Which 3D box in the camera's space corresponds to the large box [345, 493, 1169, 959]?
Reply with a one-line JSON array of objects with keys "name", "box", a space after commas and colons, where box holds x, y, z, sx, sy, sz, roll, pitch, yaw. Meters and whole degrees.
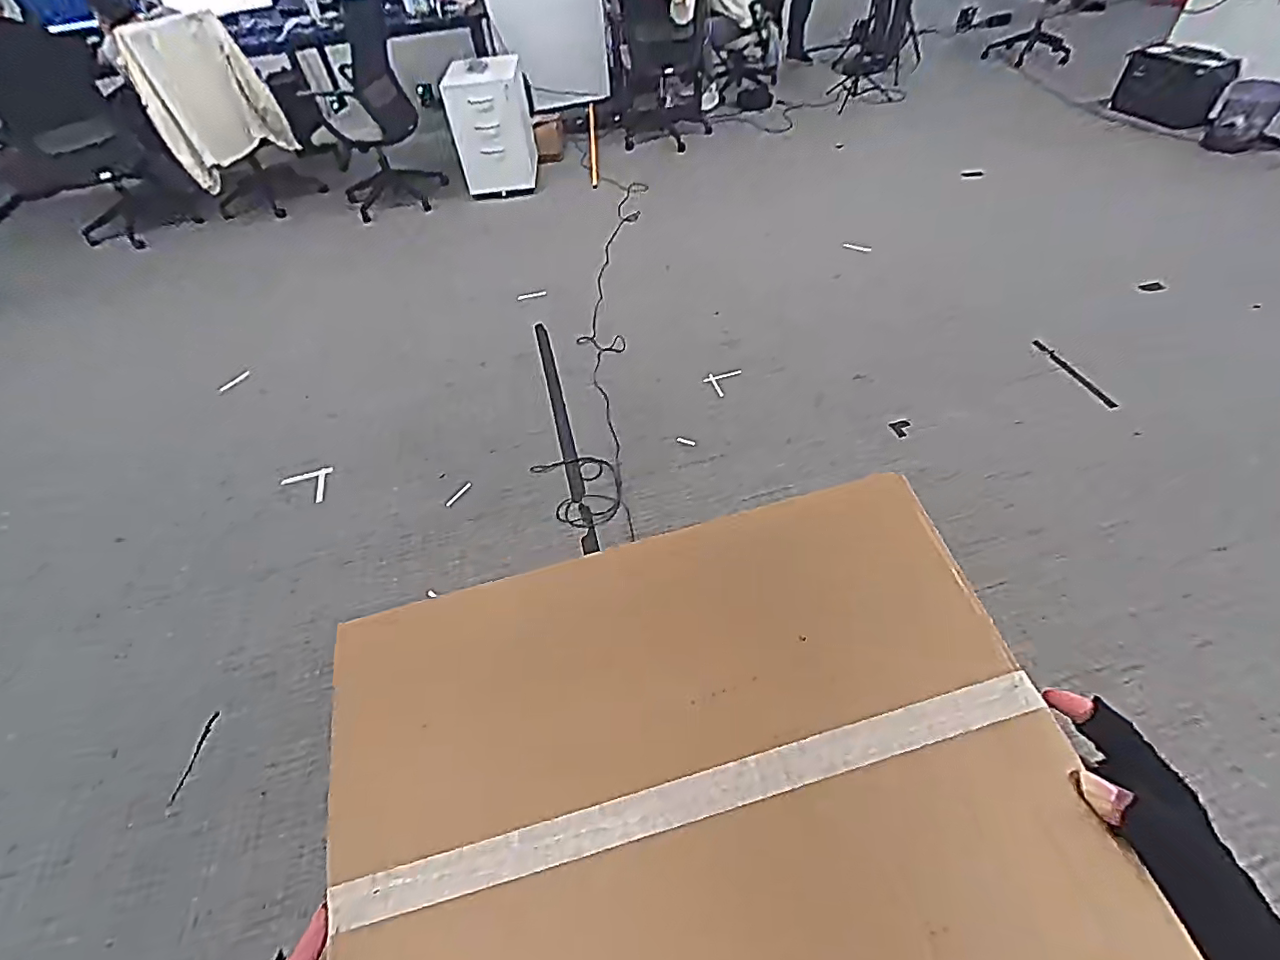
[{"name": "large box", "box": [0.045, 0.261, 0.434, 0.408, 0.320, 0.320, -16, 58, -4]}]
